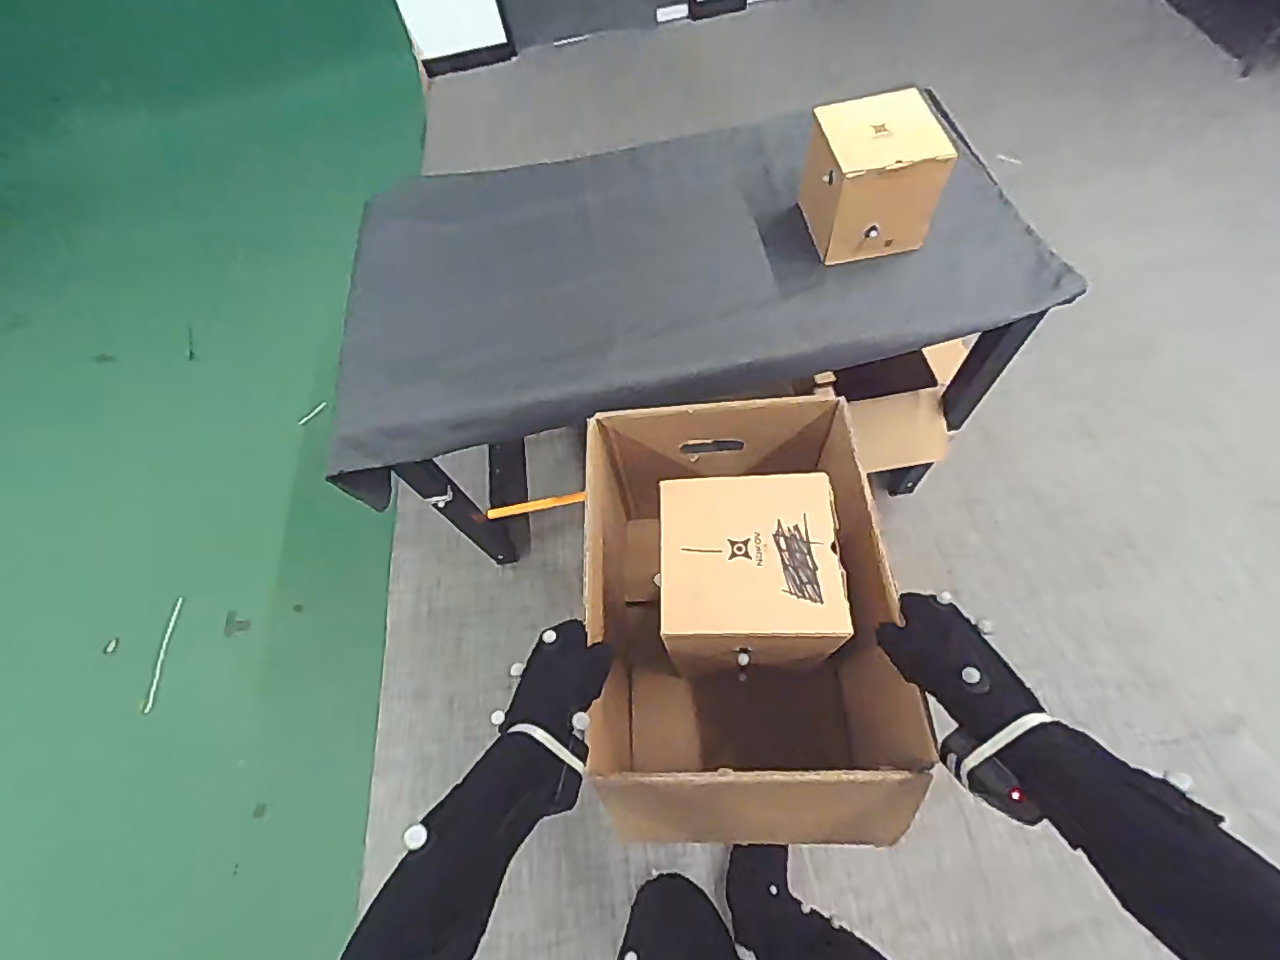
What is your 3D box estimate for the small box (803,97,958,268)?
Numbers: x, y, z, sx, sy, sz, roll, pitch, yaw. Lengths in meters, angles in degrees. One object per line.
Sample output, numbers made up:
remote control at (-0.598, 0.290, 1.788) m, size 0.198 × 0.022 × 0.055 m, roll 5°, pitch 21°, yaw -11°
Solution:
small box at (0.380, -0.485, 0.893) m, size 0.168 × 0.176 × 0.179 m, roll -9°, pitch 62°, yaw 3°
